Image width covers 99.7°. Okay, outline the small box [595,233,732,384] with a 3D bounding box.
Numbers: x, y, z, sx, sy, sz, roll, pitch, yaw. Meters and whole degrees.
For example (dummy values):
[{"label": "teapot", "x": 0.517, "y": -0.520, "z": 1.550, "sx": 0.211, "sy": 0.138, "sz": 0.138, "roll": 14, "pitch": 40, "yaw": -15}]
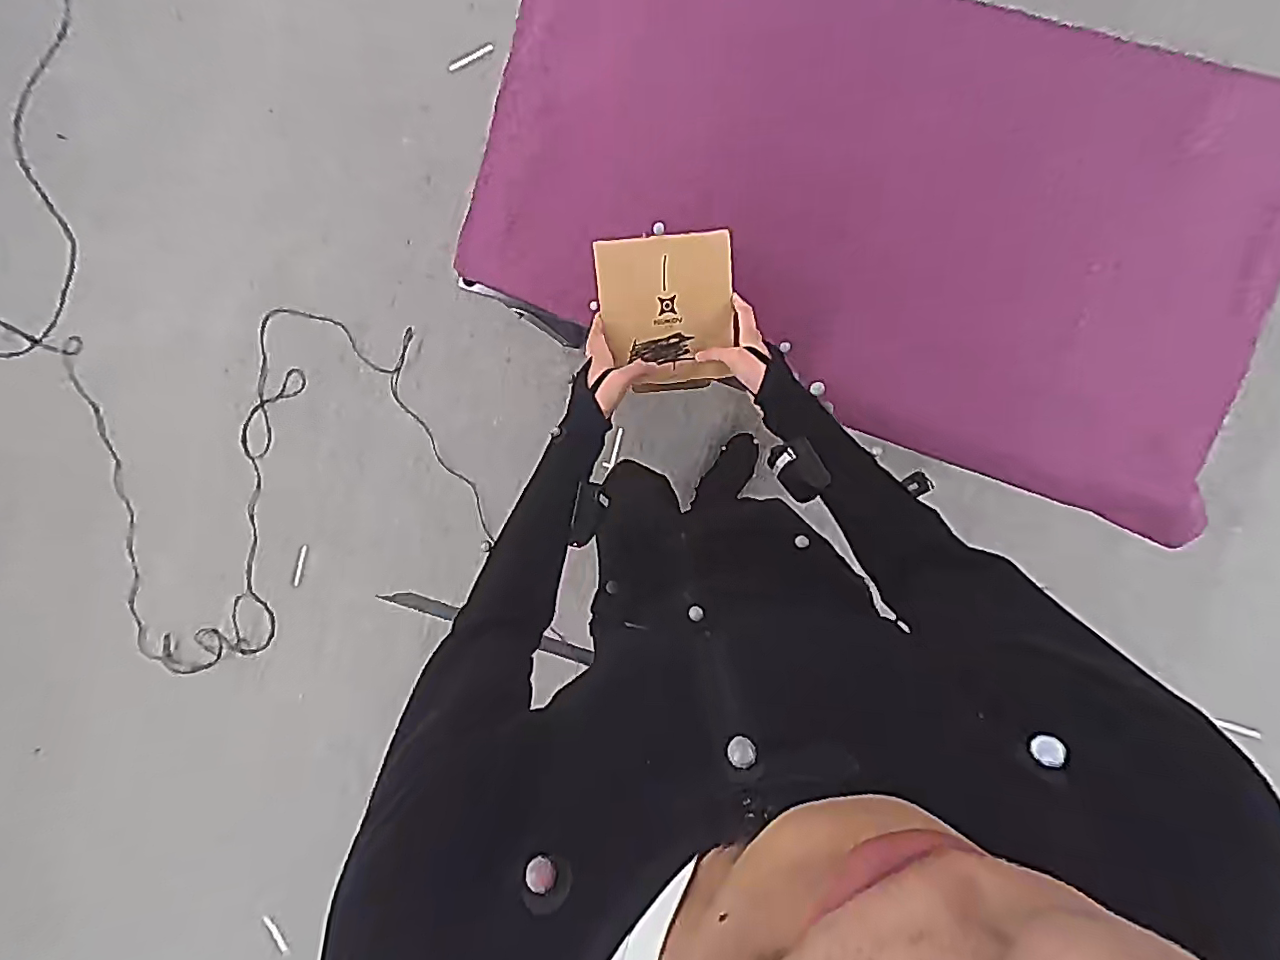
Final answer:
[{"label": "small box", "x": 0.030, "y": -0.242, "z": 0.746, "sx": 0.168, "sy": 0.176, "sz": 0.179, "roll": -4, "pitch": 114, "yaw": -1}]
